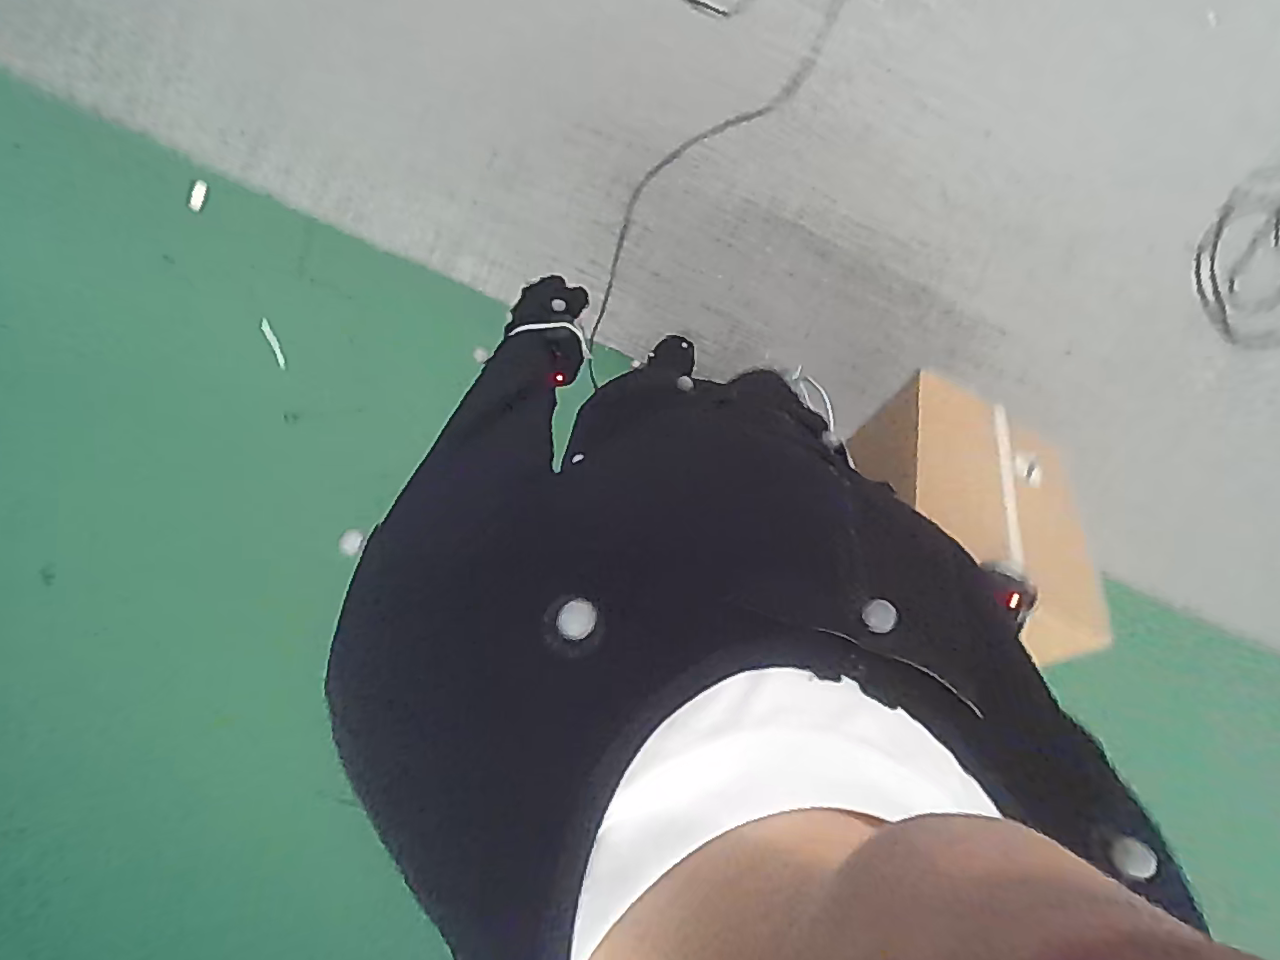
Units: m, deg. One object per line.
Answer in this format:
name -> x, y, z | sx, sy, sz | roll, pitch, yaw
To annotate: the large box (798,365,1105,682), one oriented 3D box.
large box -> 0.518, 0.080, 0.971 | 0.320, 0.408, 0.320 | 28, 140, -2
